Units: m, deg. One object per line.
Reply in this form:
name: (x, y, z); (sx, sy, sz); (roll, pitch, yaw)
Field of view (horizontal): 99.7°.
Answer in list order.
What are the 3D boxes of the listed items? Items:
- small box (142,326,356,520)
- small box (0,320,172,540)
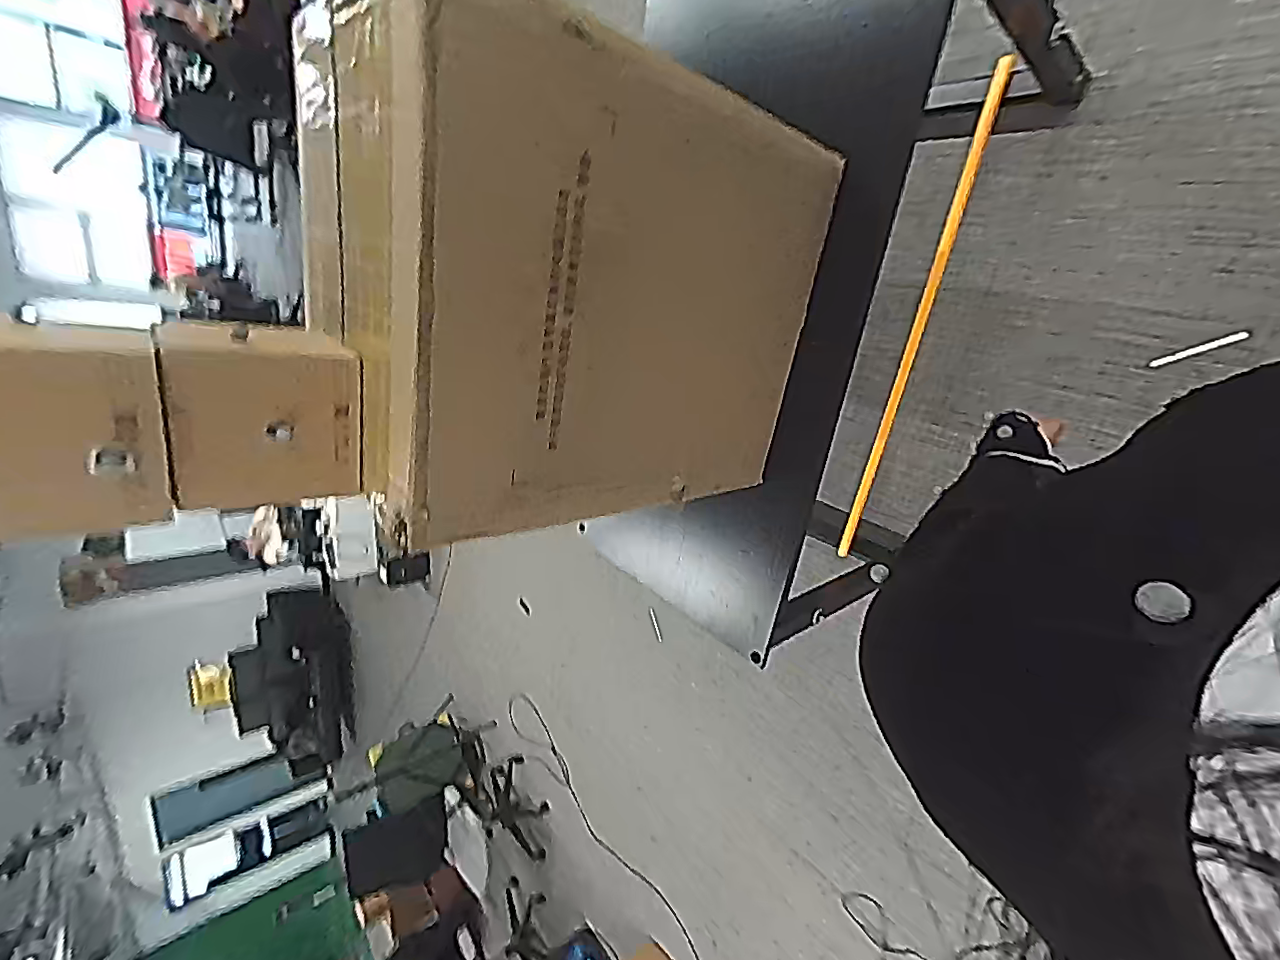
small box: (-0.432, -0.073, 0.609); (0.179, 0.176, 0.168); (27, 115, 43)
small box: (-0.546, -0.050, 0.492); (0.179, 0.176, 0.168); (26, 115, 43)
